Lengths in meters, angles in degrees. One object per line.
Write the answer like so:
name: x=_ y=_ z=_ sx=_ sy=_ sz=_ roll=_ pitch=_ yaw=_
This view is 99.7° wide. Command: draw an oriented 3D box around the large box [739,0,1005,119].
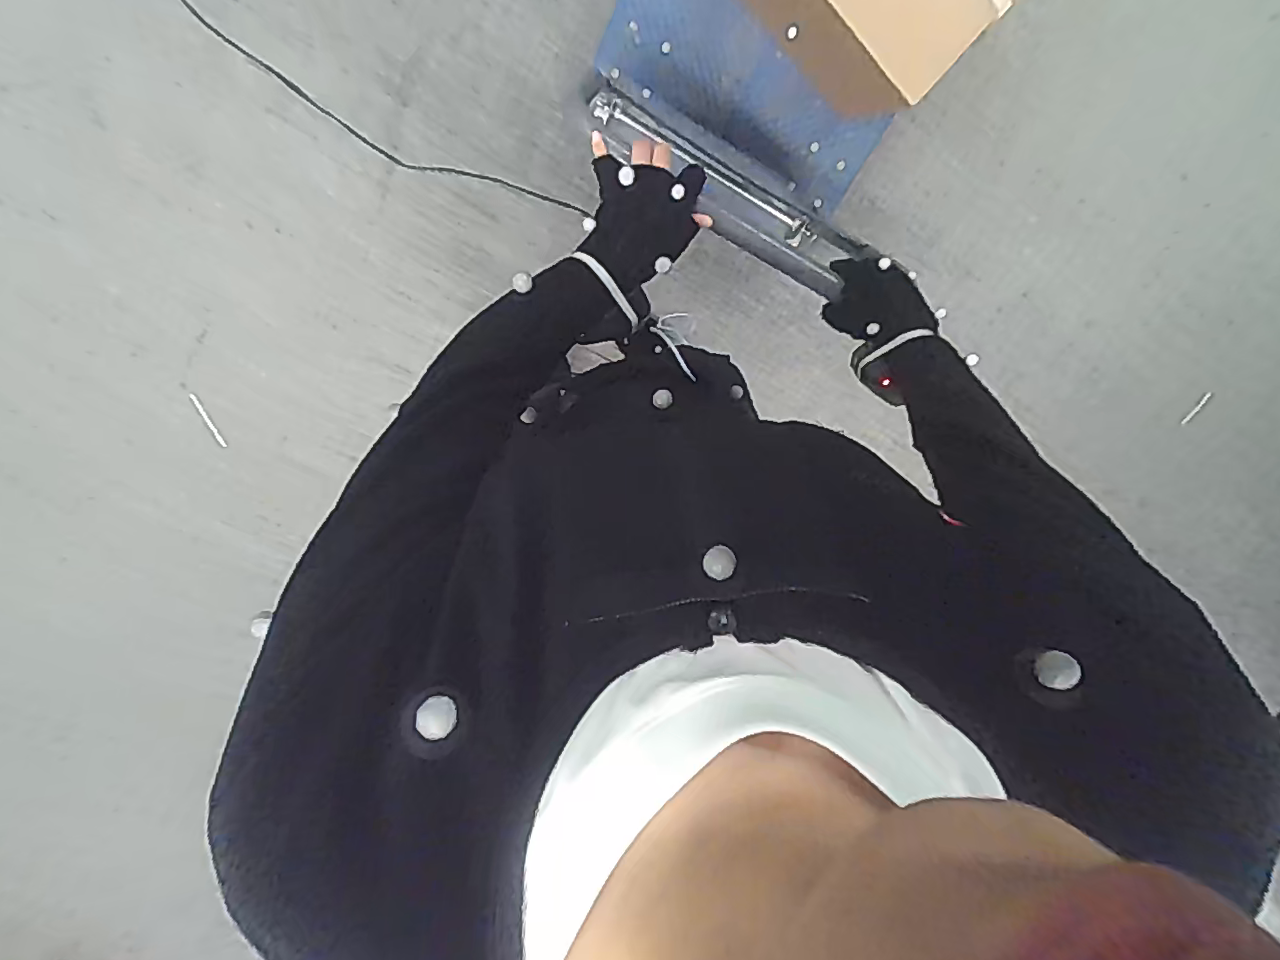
large box: x=0.359 y=-0.857 z=0.848 sx=0.408 sy=0.320 sz=0.320 roll=35 pitch=114 yaw=-19
